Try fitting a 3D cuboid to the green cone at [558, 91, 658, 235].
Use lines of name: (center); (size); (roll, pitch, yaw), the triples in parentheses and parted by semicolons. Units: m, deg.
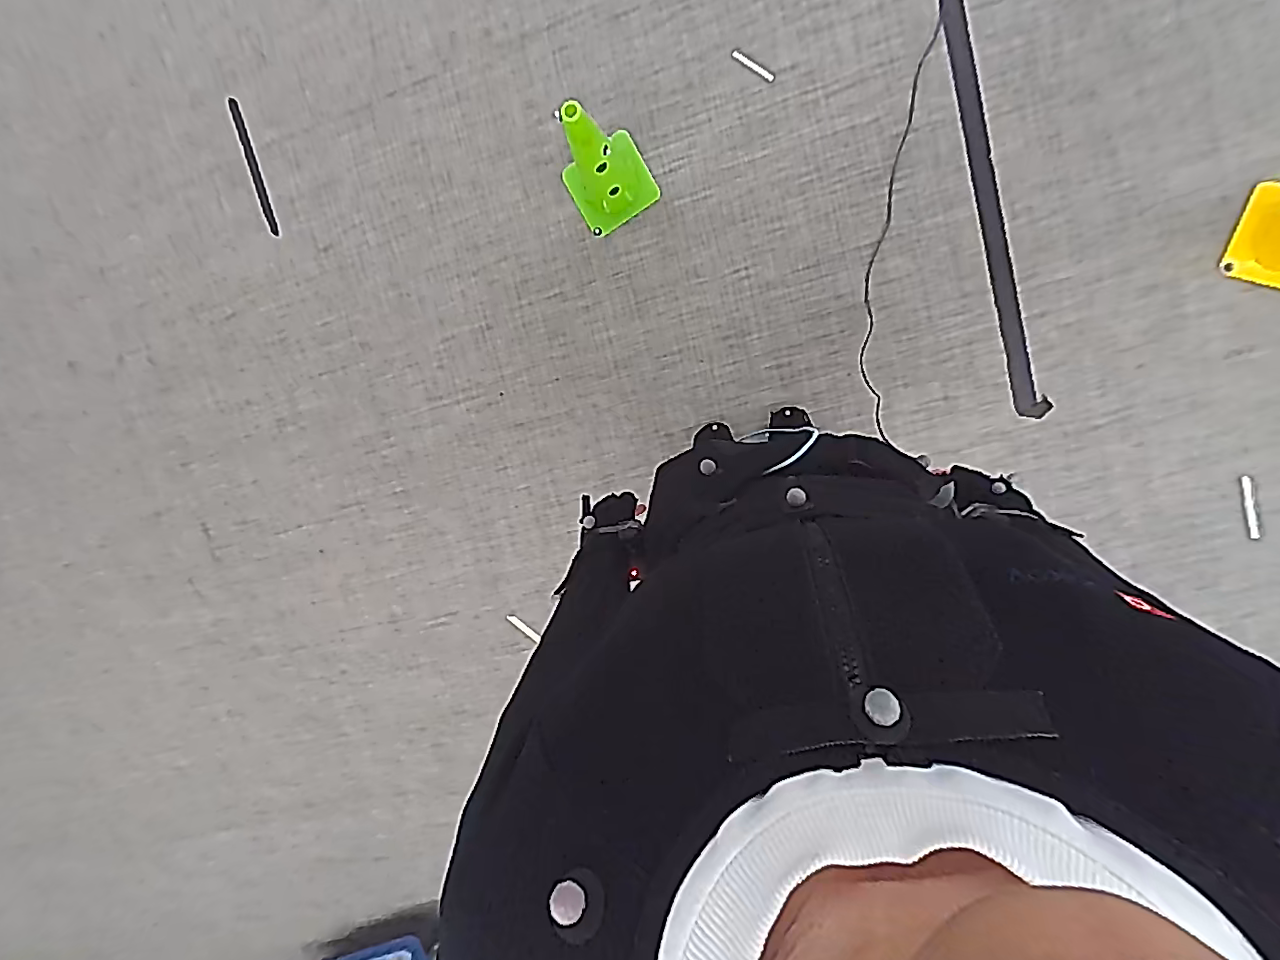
green cone: (-0.104, -0.742, 1.213); (0.200, 0.368, 0.202); (-30, 90, 11)
